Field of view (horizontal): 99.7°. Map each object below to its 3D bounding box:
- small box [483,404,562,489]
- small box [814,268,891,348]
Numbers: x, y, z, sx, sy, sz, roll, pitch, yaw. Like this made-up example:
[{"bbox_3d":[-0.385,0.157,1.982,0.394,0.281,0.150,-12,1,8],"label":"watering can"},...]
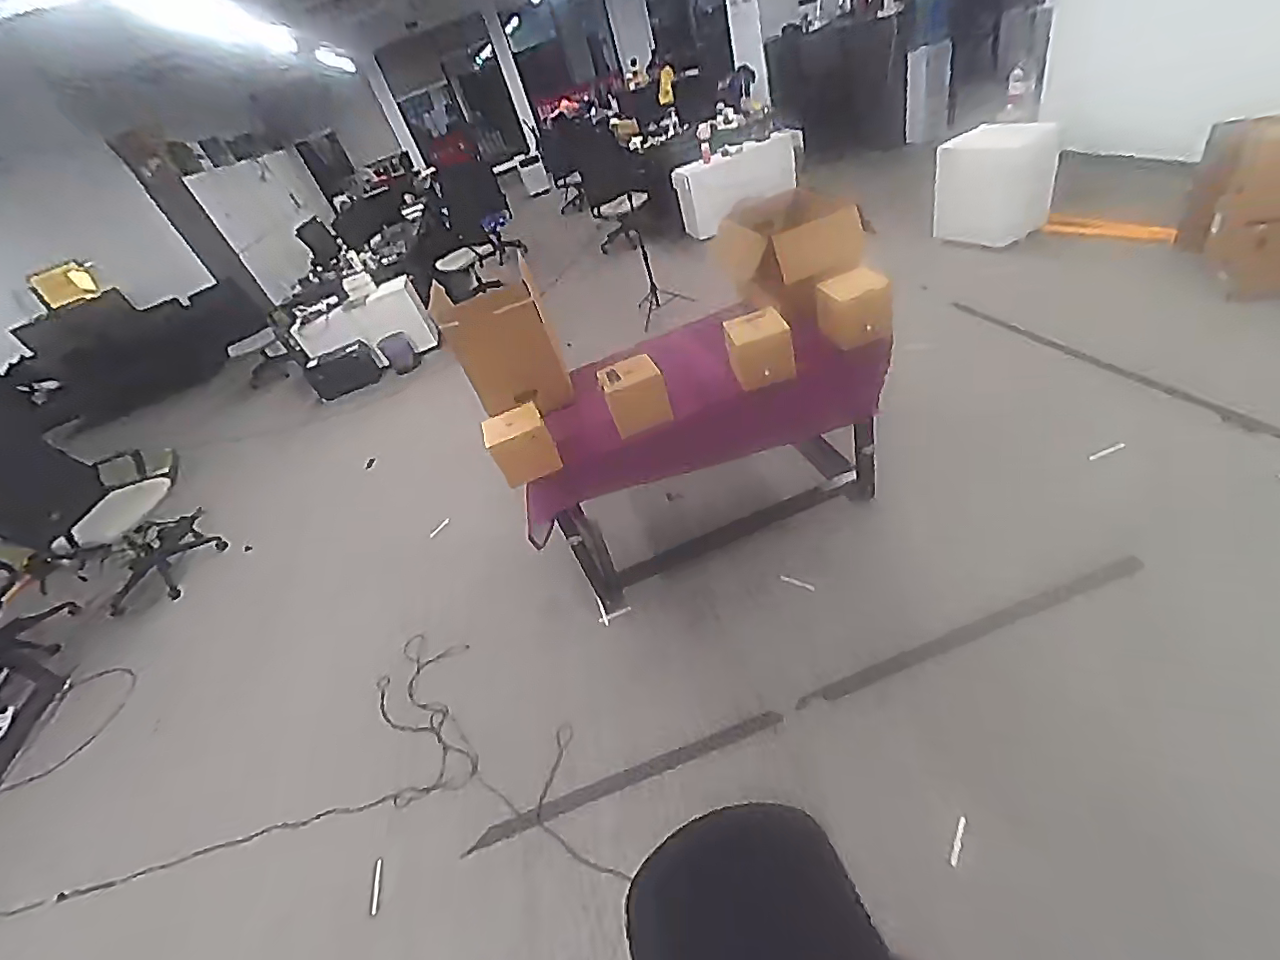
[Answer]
[{"bbox_3d":[-0.360,-0.101,1.659,0.179,0.176,0.168,-24,38,-5],"label":"small box"},{"bbox_3d":[0.668,-0.540,1.704,0.168,0.176,0.179,-21,37,2],"label":"small box"}]
